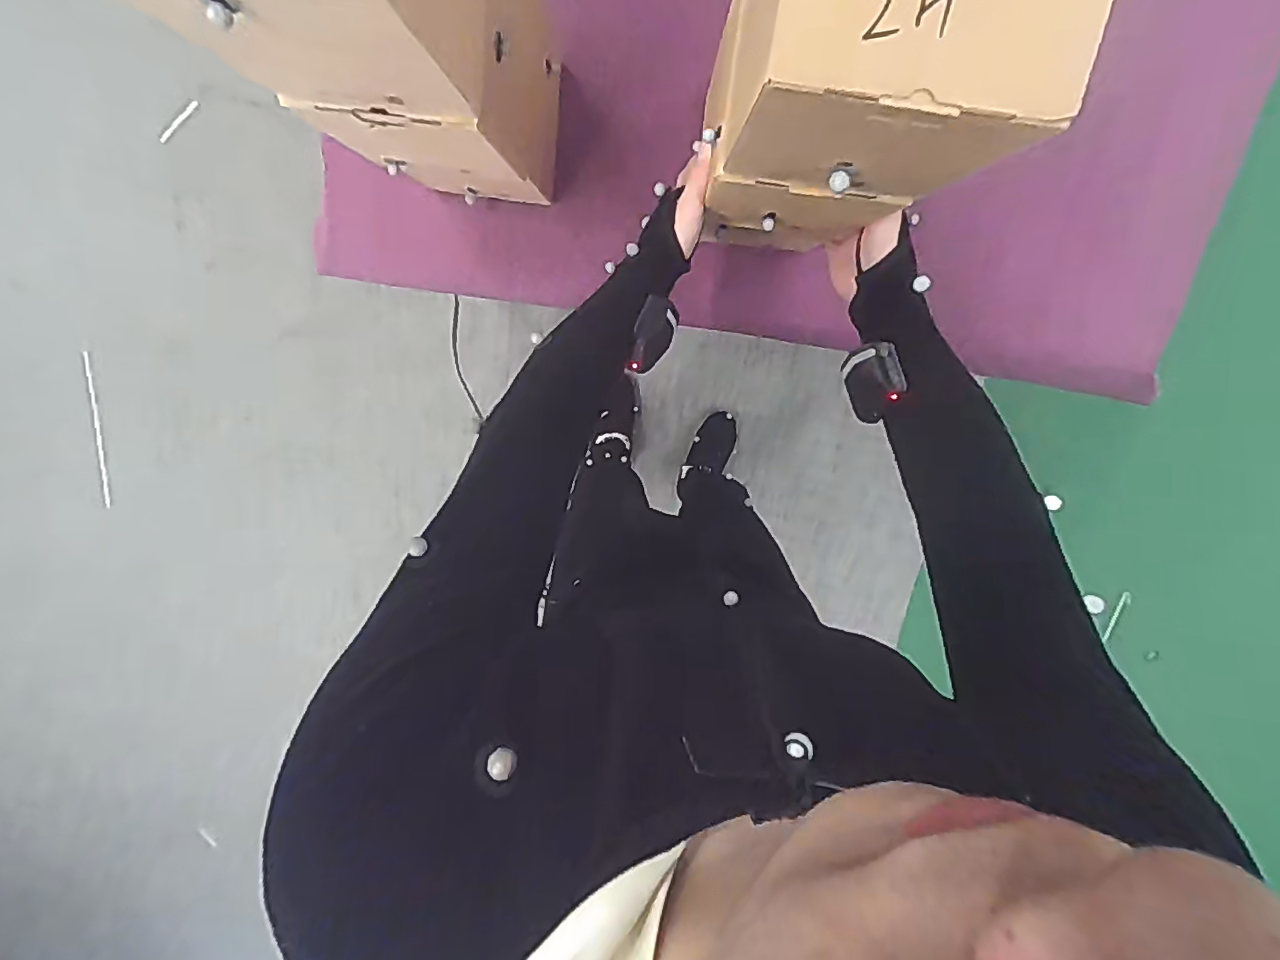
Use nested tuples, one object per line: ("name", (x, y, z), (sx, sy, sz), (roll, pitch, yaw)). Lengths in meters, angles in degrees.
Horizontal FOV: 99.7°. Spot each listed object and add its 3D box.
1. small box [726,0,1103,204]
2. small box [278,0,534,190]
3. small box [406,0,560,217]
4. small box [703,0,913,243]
("small box", (0.155, -0.296, 0.340), (0.168, 0.176, 0.179), (8, 106, -1))
("small box", (-0.198, -0.386, 0.494), (0.168, 0.176, 0.179), (7, 104, 0))
("small box", (-0.193, -0.436, 0.650), (0.168, 0.176, 0.179), (7, 106, 0))
("small box", (0.155, -0.334, 0.500), (0.168, 0.176, 0.179), (7, 106, 0))
